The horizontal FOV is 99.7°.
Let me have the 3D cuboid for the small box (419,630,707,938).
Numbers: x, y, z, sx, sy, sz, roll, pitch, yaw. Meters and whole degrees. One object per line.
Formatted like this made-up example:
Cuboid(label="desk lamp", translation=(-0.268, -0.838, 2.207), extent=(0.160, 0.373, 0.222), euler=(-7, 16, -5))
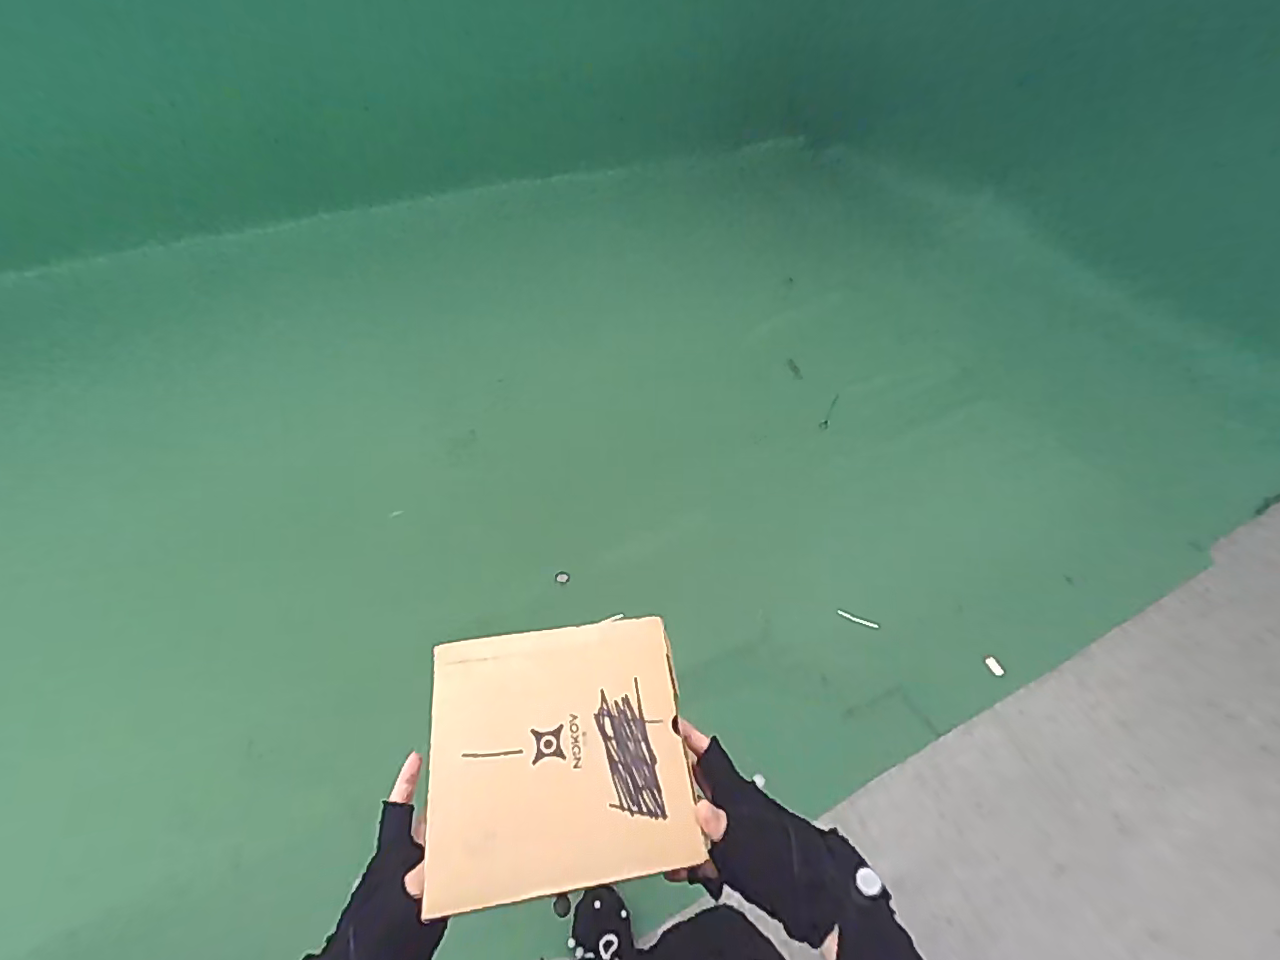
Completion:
Cuboid(label="small box", translation=(-0.062, 0.235, 0.433), extent=(0.179, 0.176, 0.168), euler=(-5, 56, -10))
